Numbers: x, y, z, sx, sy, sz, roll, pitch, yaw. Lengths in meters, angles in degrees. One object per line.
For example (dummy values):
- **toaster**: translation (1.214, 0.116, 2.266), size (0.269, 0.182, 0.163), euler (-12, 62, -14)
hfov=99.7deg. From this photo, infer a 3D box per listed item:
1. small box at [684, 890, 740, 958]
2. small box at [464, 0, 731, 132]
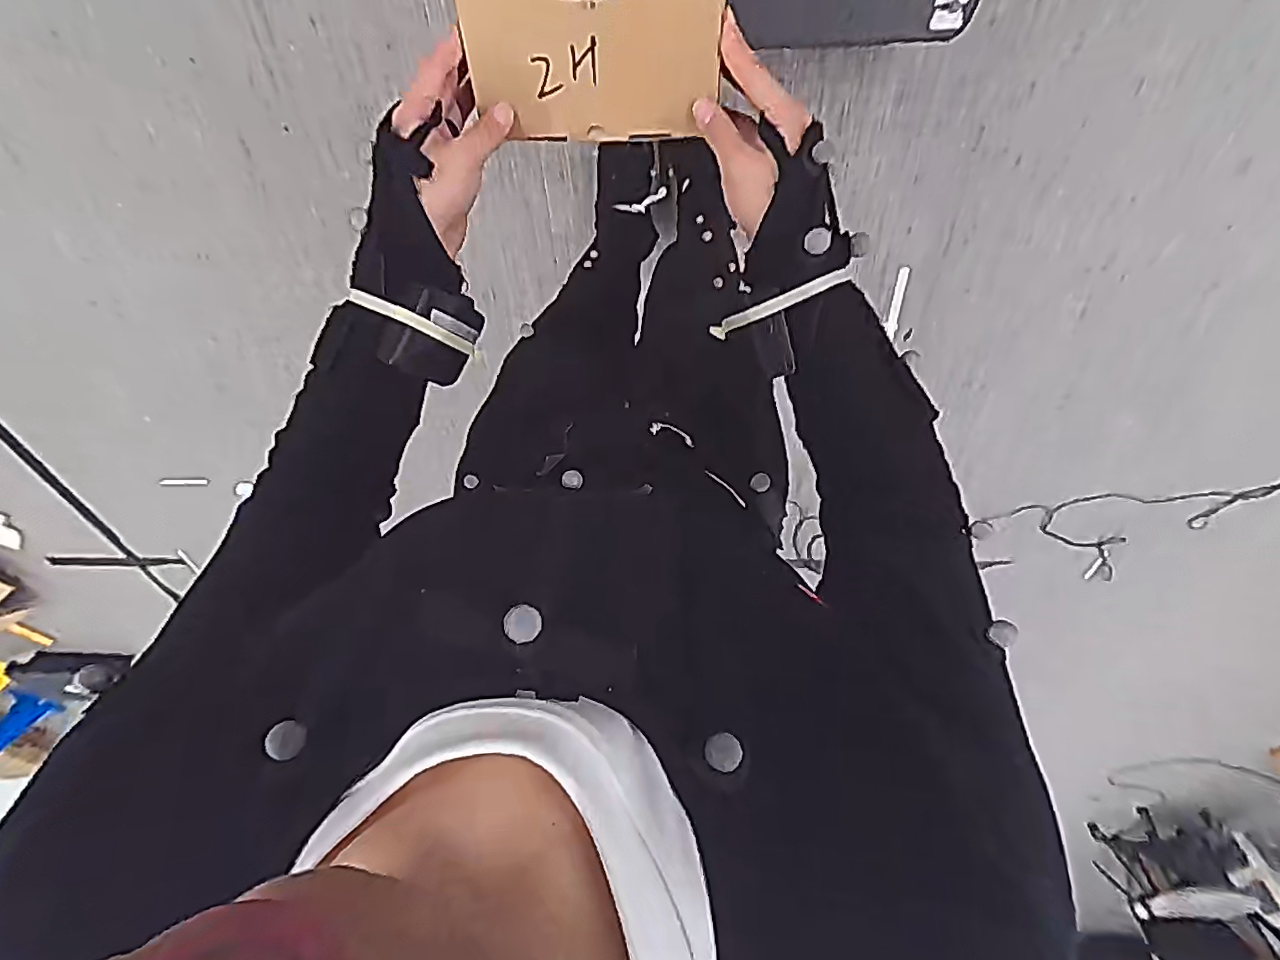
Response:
- **small box**: translation (0.248, 1.559, 1.899), size (0.179, 0.176, 0.168), euler (-1, 132, 3)
- **small box**: translation (-0.019, -0.358, 0.374), size (0.168, 0.176, 0.179), euler (3, 132, 6)
